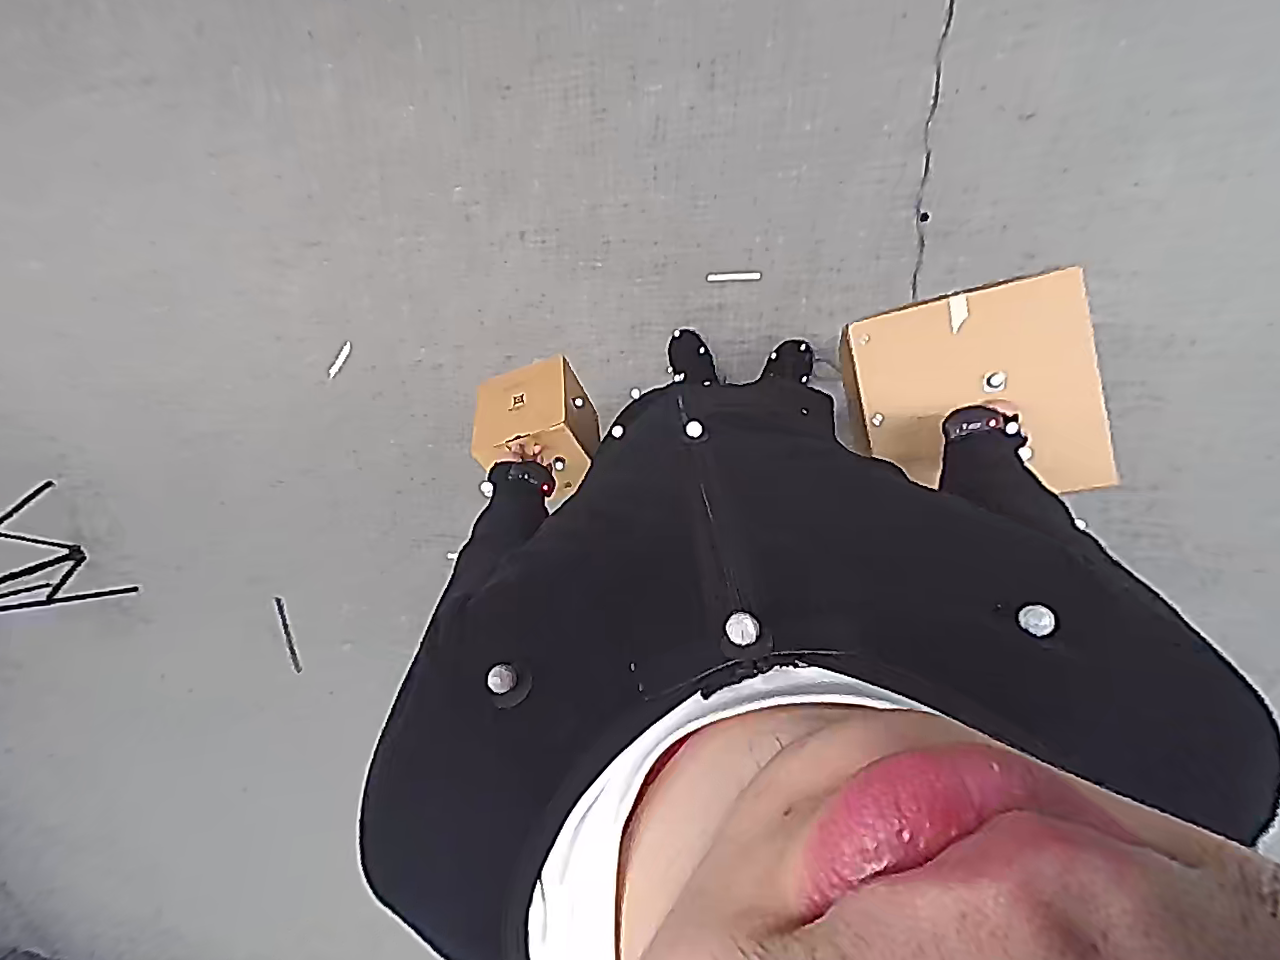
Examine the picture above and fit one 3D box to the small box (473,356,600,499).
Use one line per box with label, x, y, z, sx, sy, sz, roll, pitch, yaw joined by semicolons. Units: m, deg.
small box;-0.177;-0.084;0.968;0.168;0.179;0.176;-17;140;10
